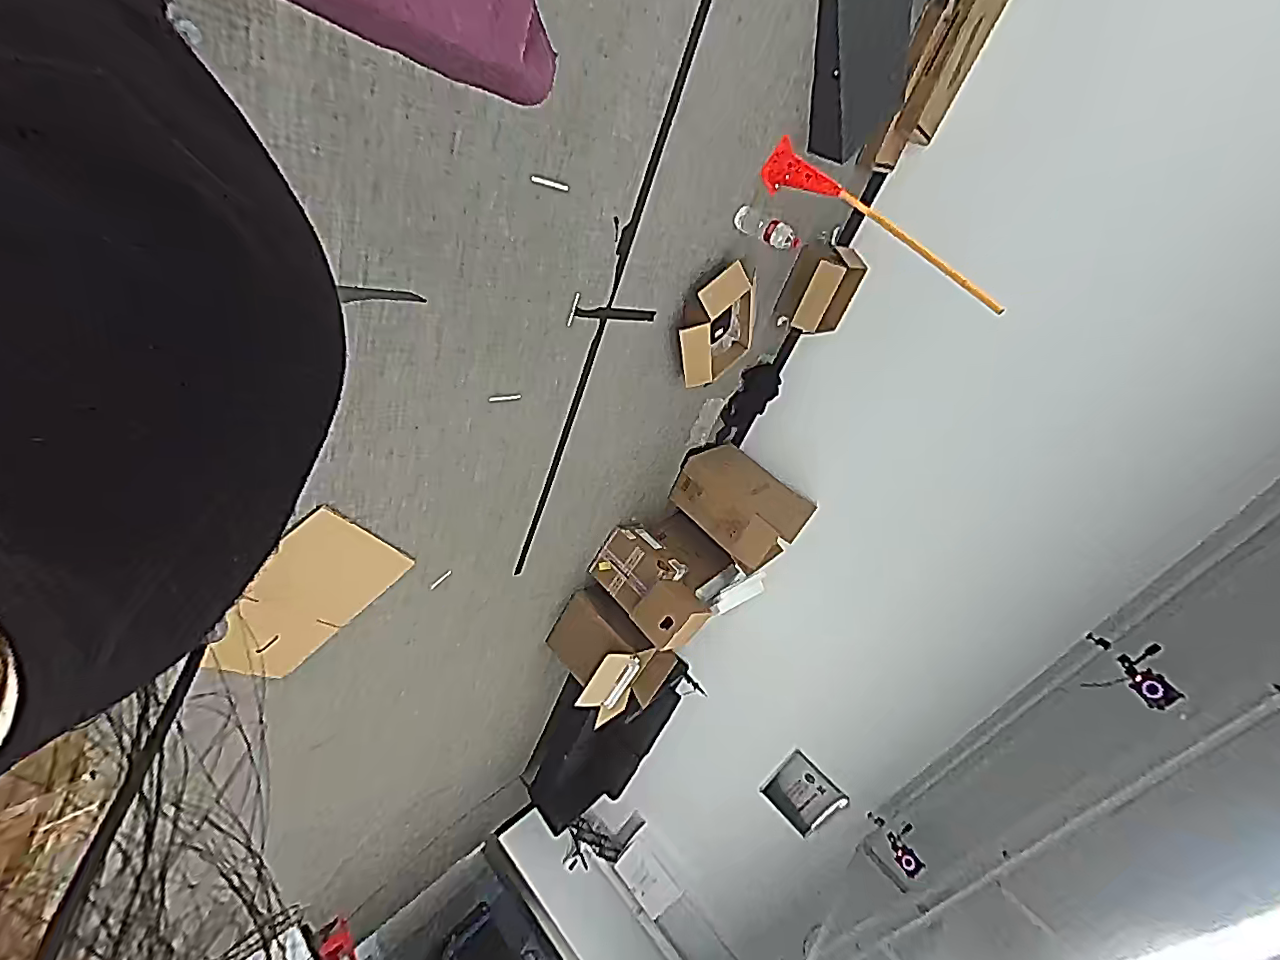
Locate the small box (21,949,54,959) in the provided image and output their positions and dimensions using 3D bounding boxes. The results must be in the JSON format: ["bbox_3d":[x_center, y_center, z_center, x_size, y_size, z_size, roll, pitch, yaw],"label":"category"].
[{"bbox_3d":[-1.386,1.193,1.185,0.168,0.176,0.179,-18,141,-48],"label":"small box"}]

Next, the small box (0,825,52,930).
[{"bbox_3d":[-1.606,0.996,1.332,0.168,0.176,0.179,-20,142,-46],"label":"small box"}]
